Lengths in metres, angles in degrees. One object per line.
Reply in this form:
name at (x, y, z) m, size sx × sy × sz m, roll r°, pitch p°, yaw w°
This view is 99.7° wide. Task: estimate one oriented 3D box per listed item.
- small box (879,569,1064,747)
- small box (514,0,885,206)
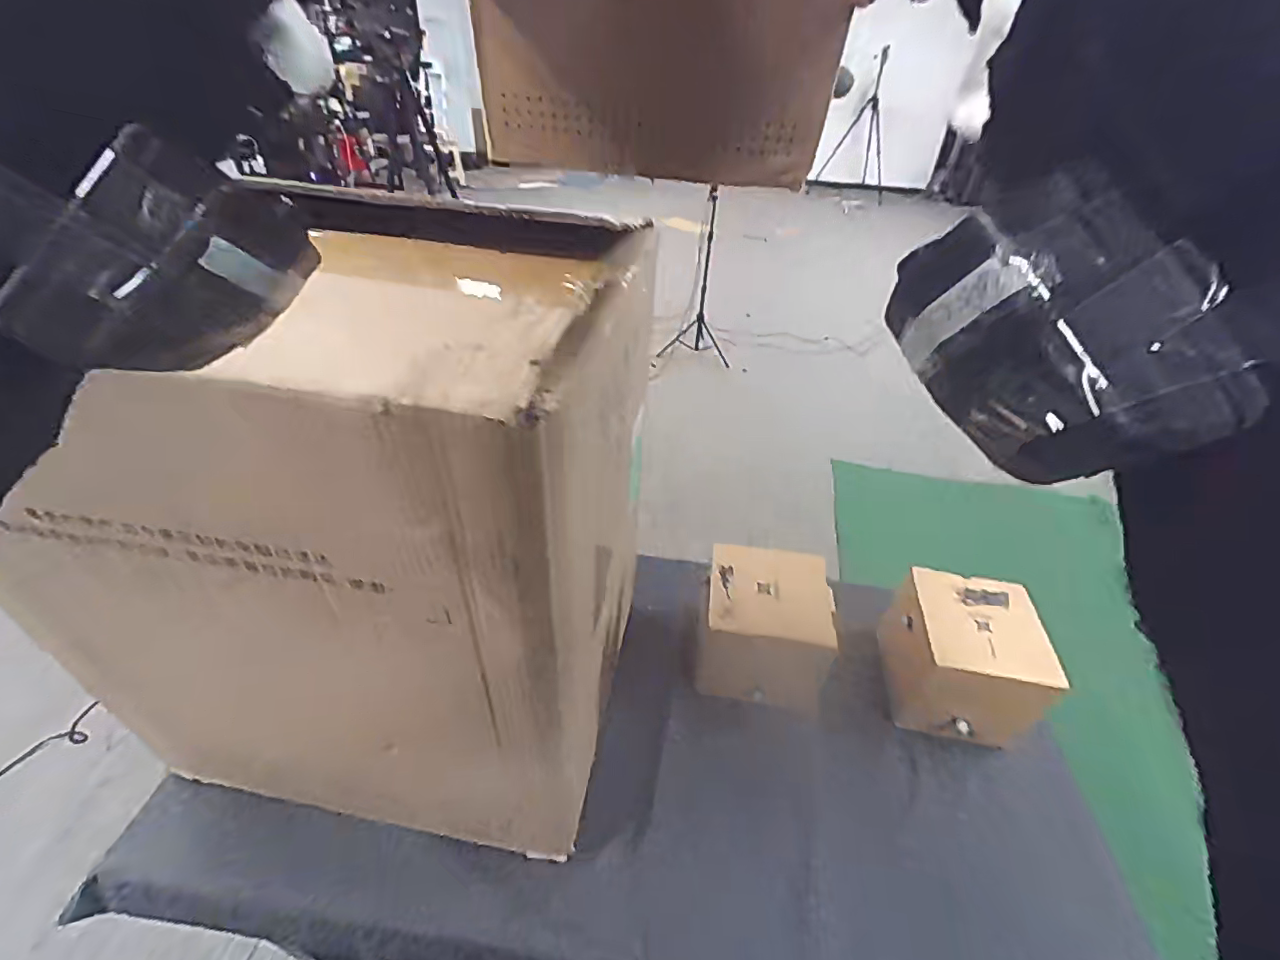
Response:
small box at (0.478, 0.266, 0.817) m, size 0.168 × 0.176 × 0.179 m, roll 9°, pitch 40°, yaw 7°
small box at (0.035, -0.270, 0.290) m, size 0.179 × 0.176 × 0.168 m, roll 9°, pitch 50°, yaw 3°
